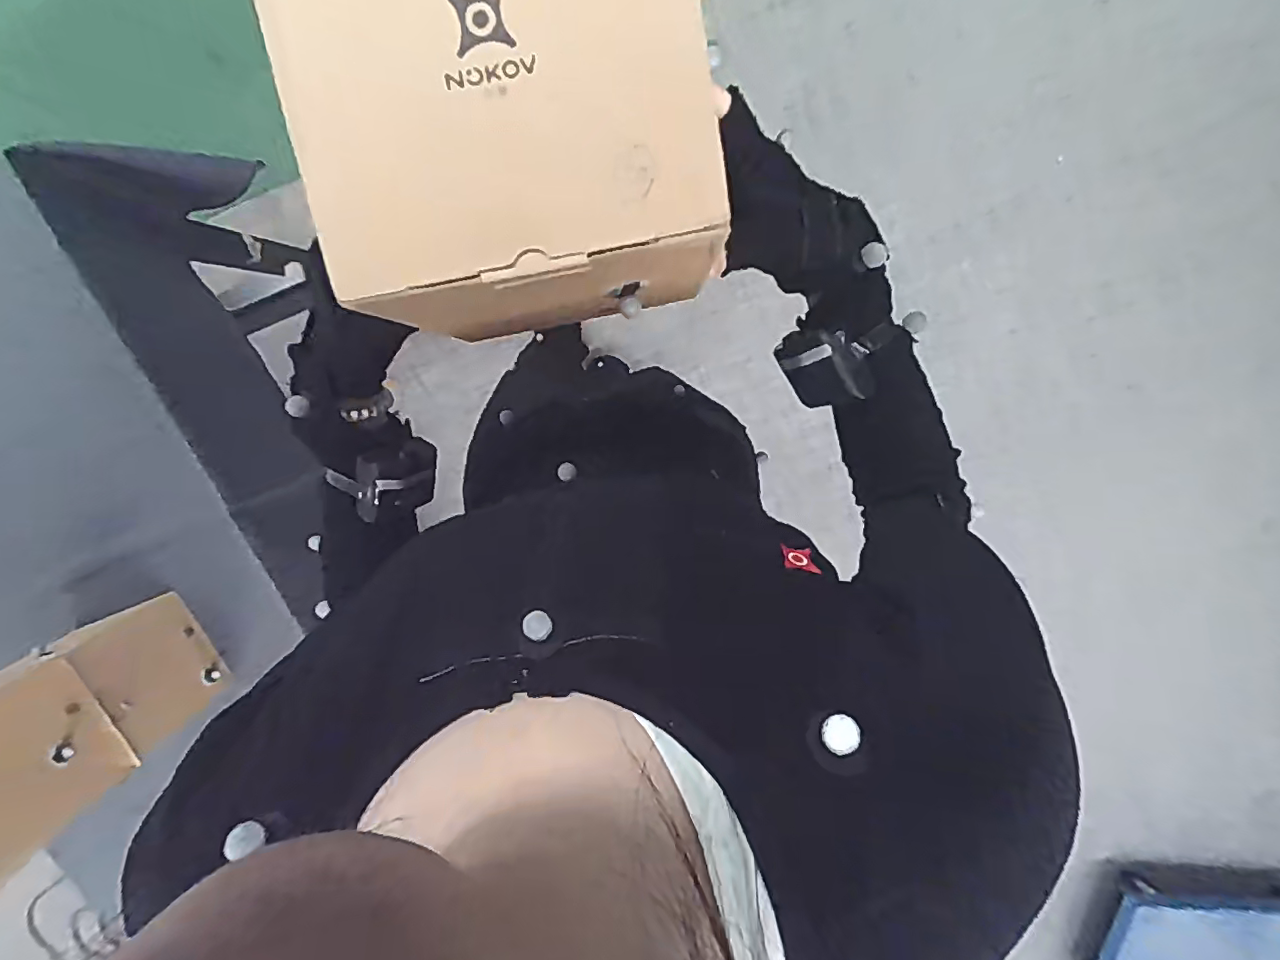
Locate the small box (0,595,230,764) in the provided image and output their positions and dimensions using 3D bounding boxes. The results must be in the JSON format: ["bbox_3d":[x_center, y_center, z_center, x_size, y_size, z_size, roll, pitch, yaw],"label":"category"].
[{"bbox_3d":[-0.714,0.283,0.739,0.179,0.176,0.168,-21,104,6],"label":"small box"}]

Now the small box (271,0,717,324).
[{"bbox_3d":[-0.058,-0.187,0.293,0.168,0.176,0.179,-10,100,2],"label":"small box"}]

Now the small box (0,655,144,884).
[{"bbox_3d":[-0.714,0.323,0.582,0.179,0.176,0.168,-21,103,5],"label":"small box"}]
